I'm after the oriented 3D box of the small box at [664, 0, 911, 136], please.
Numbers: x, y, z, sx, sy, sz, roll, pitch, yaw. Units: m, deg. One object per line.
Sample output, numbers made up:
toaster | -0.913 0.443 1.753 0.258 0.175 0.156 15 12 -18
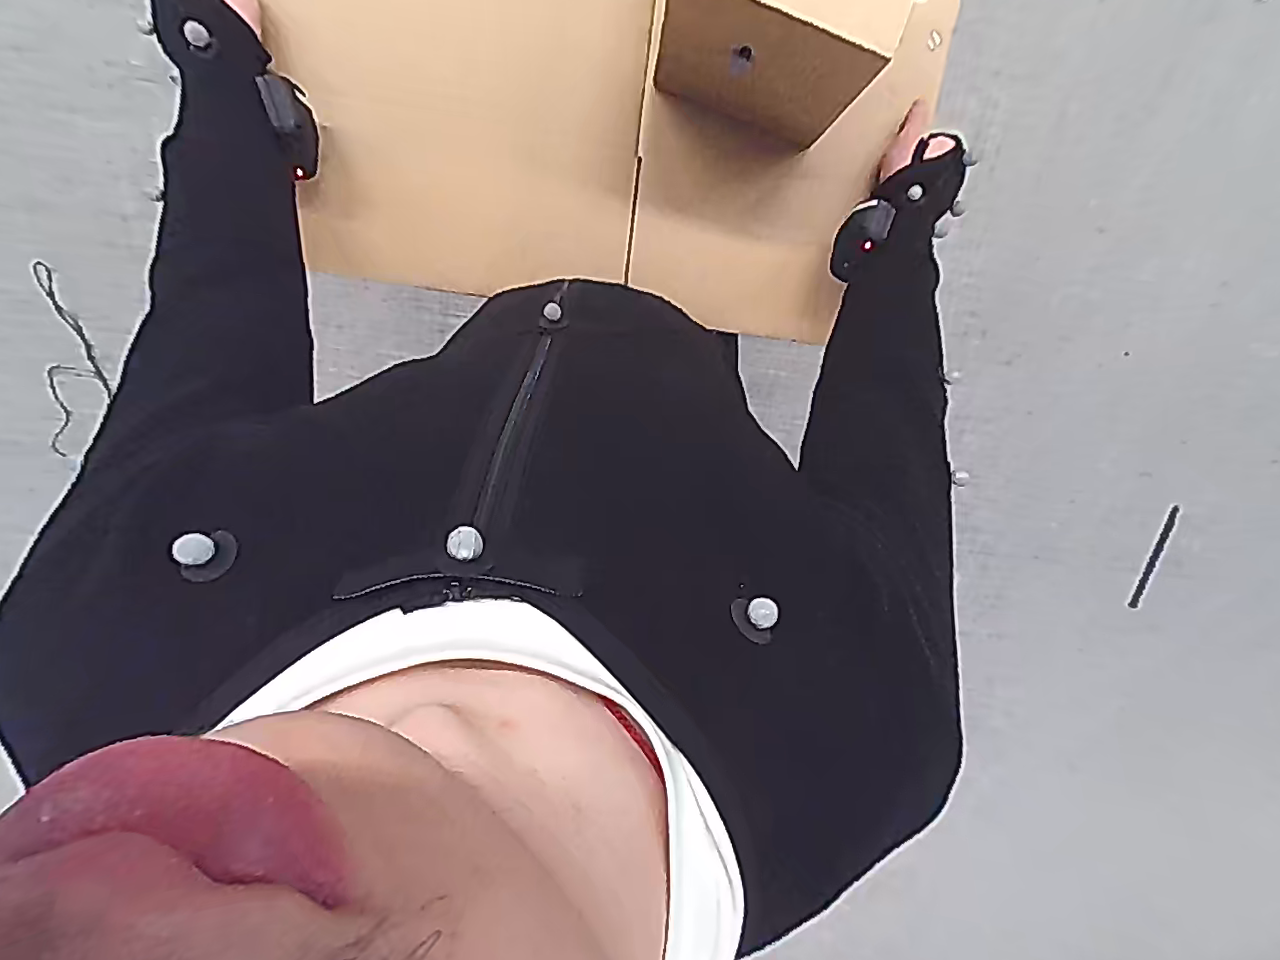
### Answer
small box | 0.127 -0.431 0.461 0.179 0.176 0.168 17 101 -6
